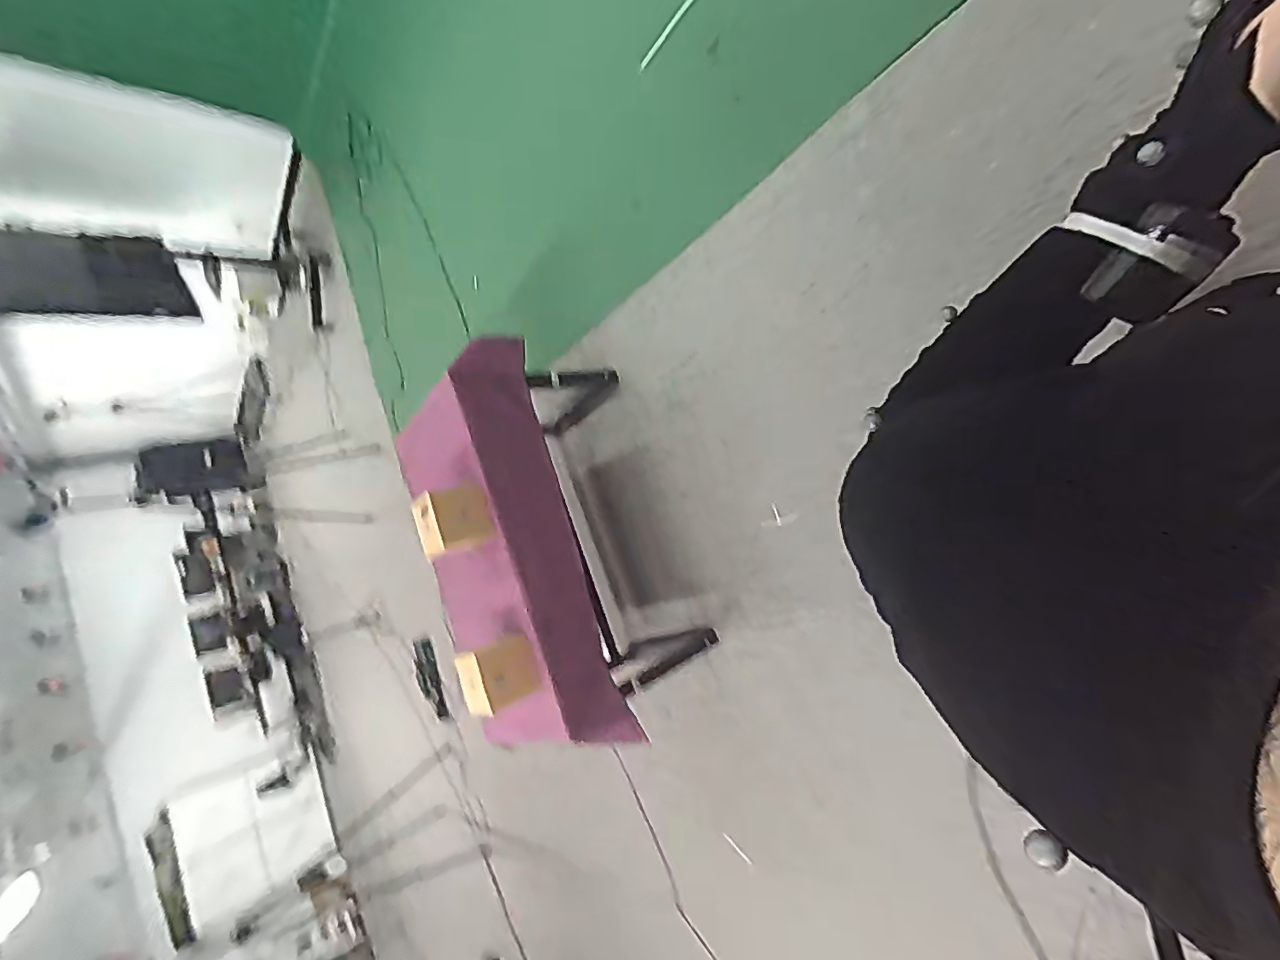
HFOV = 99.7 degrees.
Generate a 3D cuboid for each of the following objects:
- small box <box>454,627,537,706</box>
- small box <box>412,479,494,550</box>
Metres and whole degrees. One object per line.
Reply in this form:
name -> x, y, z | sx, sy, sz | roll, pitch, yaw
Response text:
small box -> -0.434, 0.563, 1.642 | 0.168, 0.176, 0.179 | -24, 82, 46
small box -> -0.584, 0.104, 1.693 | 0.168, 0.176, 0.179 | -25, 82, 47
